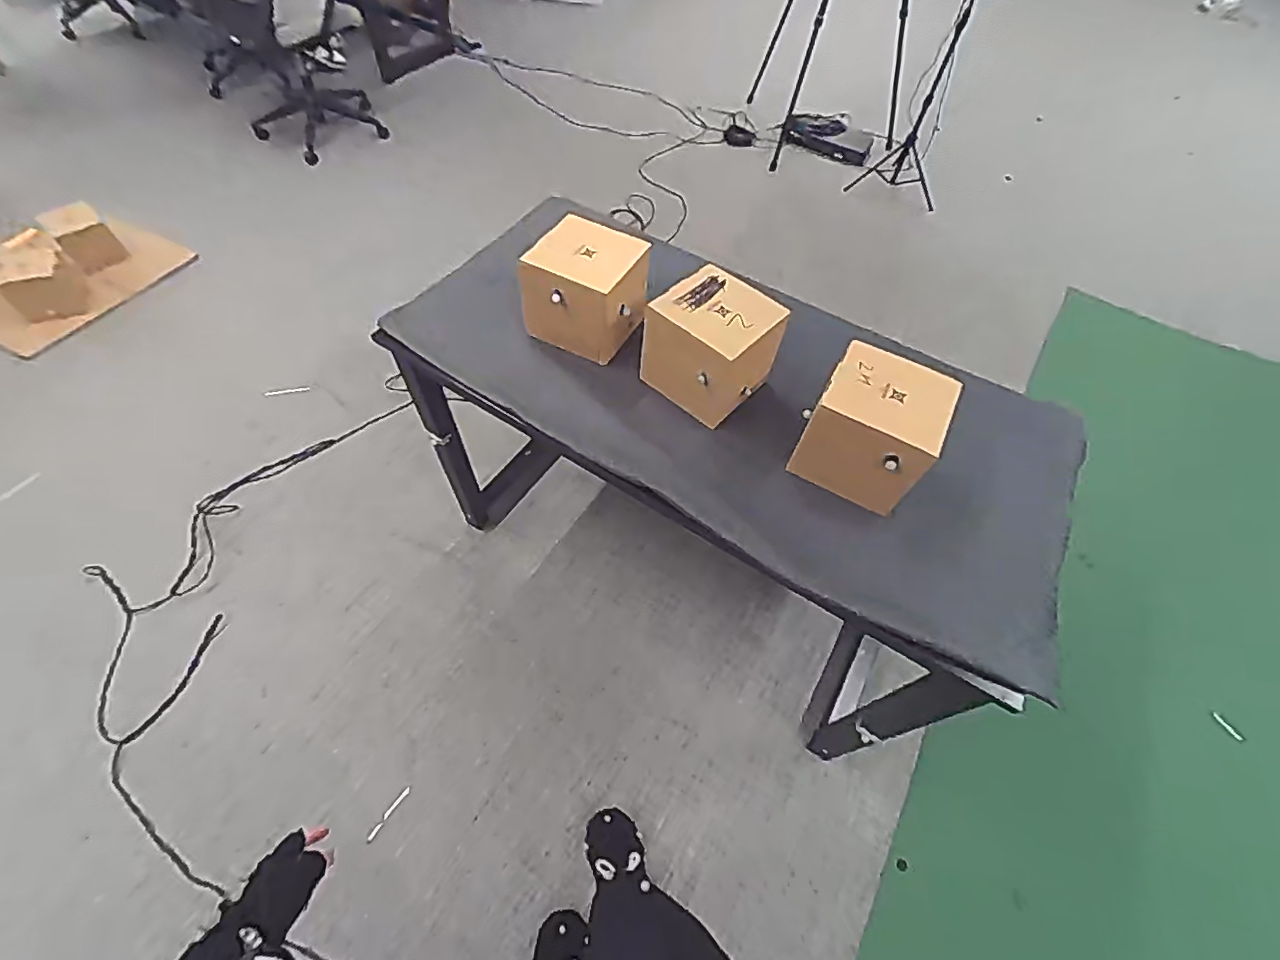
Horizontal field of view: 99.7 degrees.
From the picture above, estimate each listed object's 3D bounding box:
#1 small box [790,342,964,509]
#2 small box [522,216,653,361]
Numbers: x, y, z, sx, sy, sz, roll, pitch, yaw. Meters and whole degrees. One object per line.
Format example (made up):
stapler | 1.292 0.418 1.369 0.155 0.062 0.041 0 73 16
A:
small box | 0.366 -0.078 0.855 0.179 0.176 0.168 28 58 14
small box | -0.093 -0.348 1.005 0.179 0.176 0.168 25 58 12
